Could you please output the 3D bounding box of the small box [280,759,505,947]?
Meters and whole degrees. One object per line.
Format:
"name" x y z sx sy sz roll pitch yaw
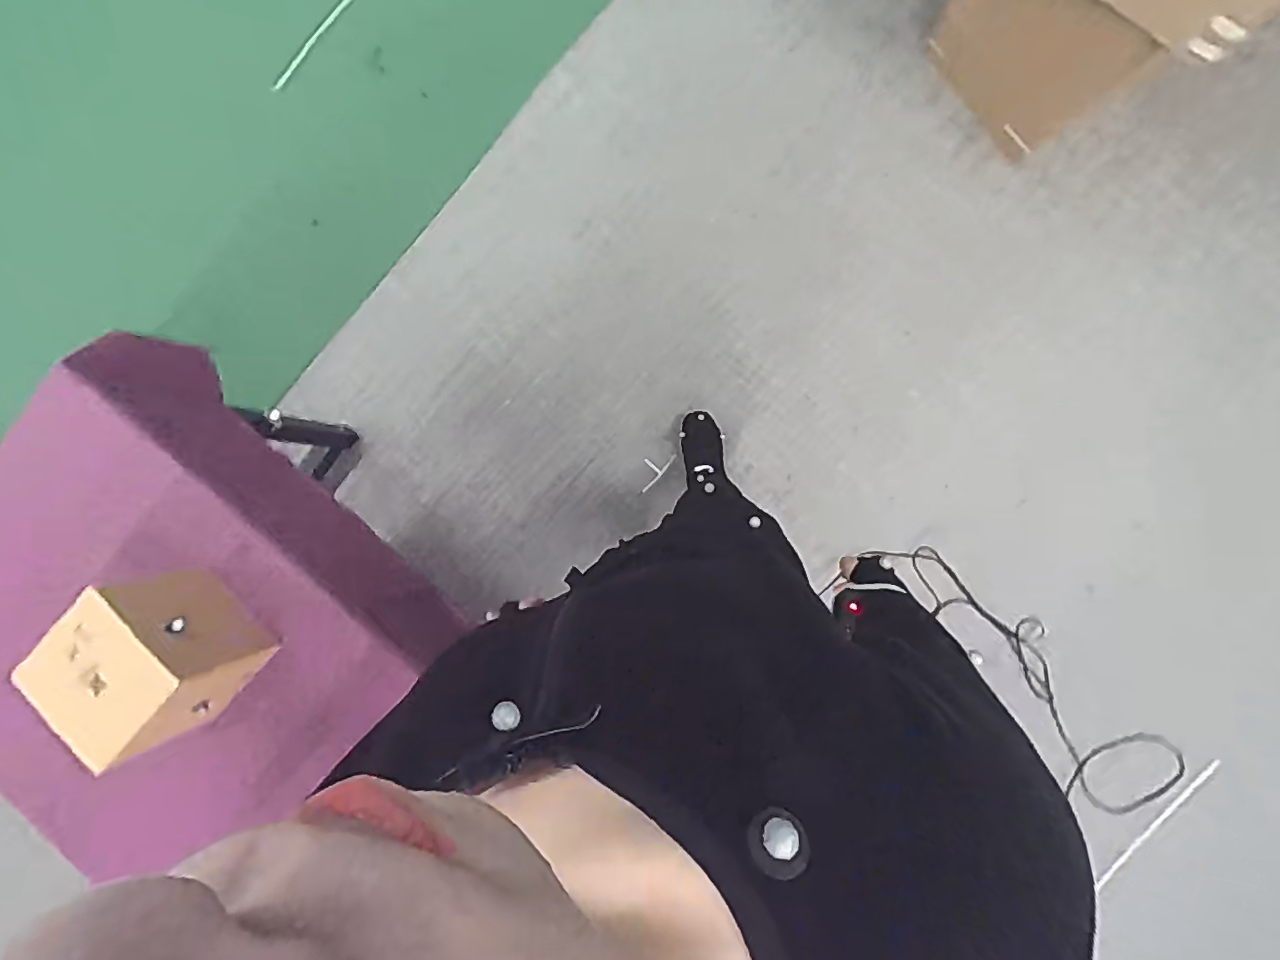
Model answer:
"small box" -0.313 0.521 0.723 0.179 0.176 0.168 43 94 6
